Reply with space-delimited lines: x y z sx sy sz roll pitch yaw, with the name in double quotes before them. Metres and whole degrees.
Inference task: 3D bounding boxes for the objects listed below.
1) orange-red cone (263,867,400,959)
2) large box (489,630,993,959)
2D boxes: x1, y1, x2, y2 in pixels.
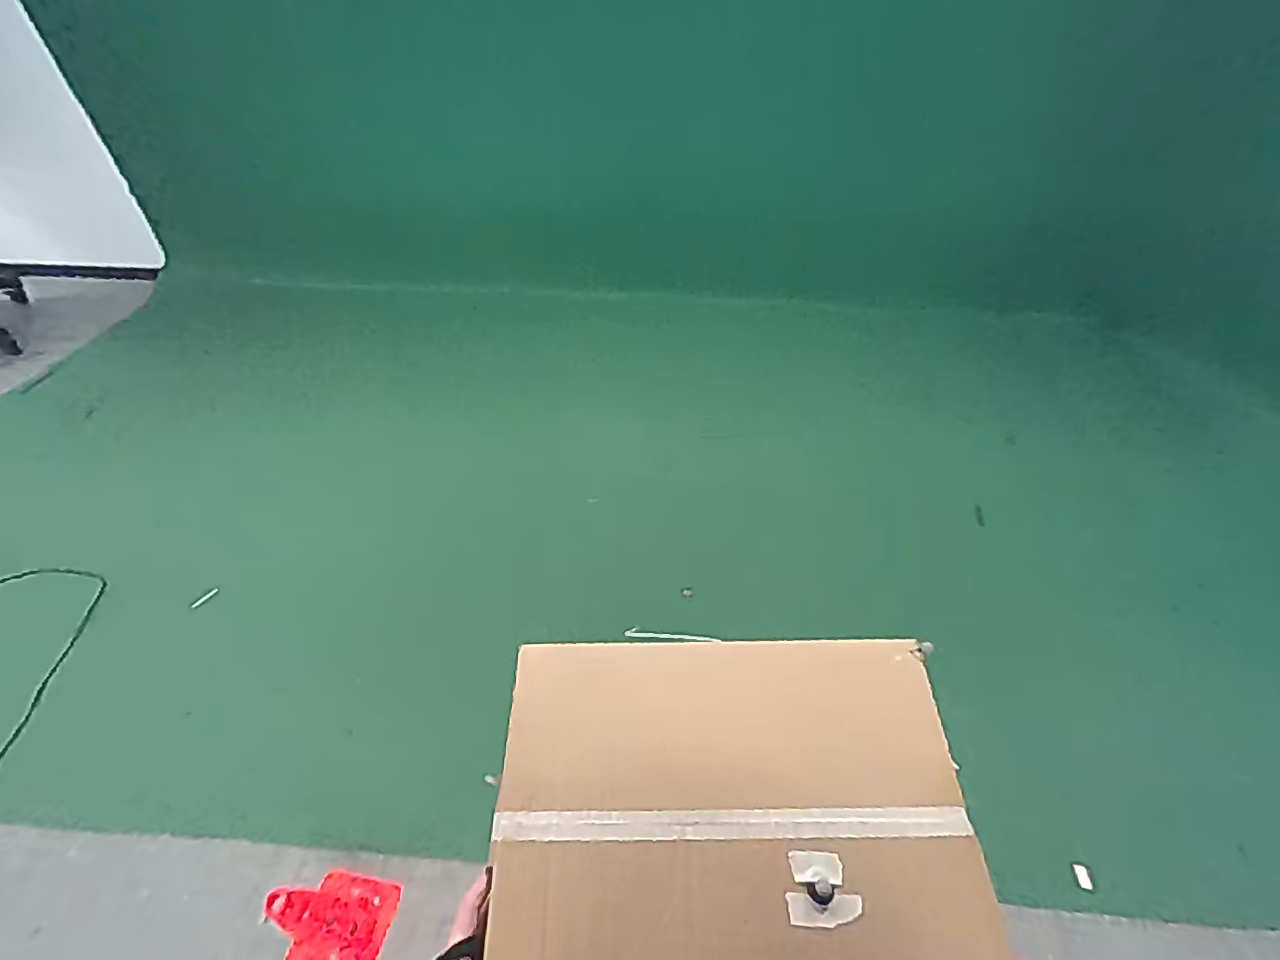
"orange-red cone" -0.679 0.895 1.120 0.199 0.360 0.198 7 44 8
"large box" 0.078 0.373 0.607 0.408 0.320 0.320 -1 57 1
